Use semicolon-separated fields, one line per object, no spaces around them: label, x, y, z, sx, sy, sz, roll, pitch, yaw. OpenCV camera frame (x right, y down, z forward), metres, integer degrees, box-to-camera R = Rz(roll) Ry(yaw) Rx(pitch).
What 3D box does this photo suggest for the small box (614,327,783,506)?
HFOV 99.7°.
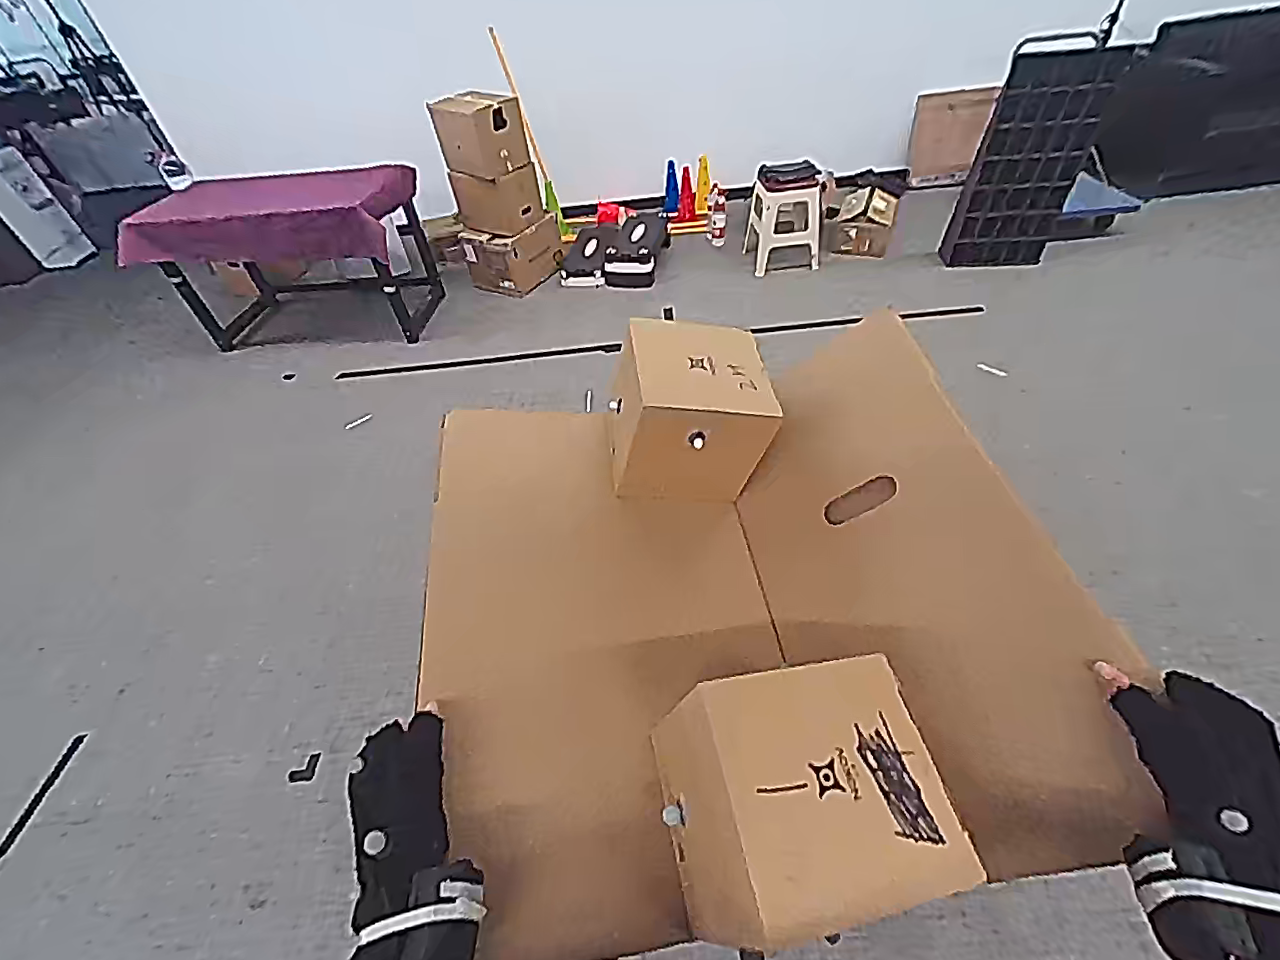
small box;0.062;-0.079;0.727;0.179;0.176;0.168;4;51;-13
